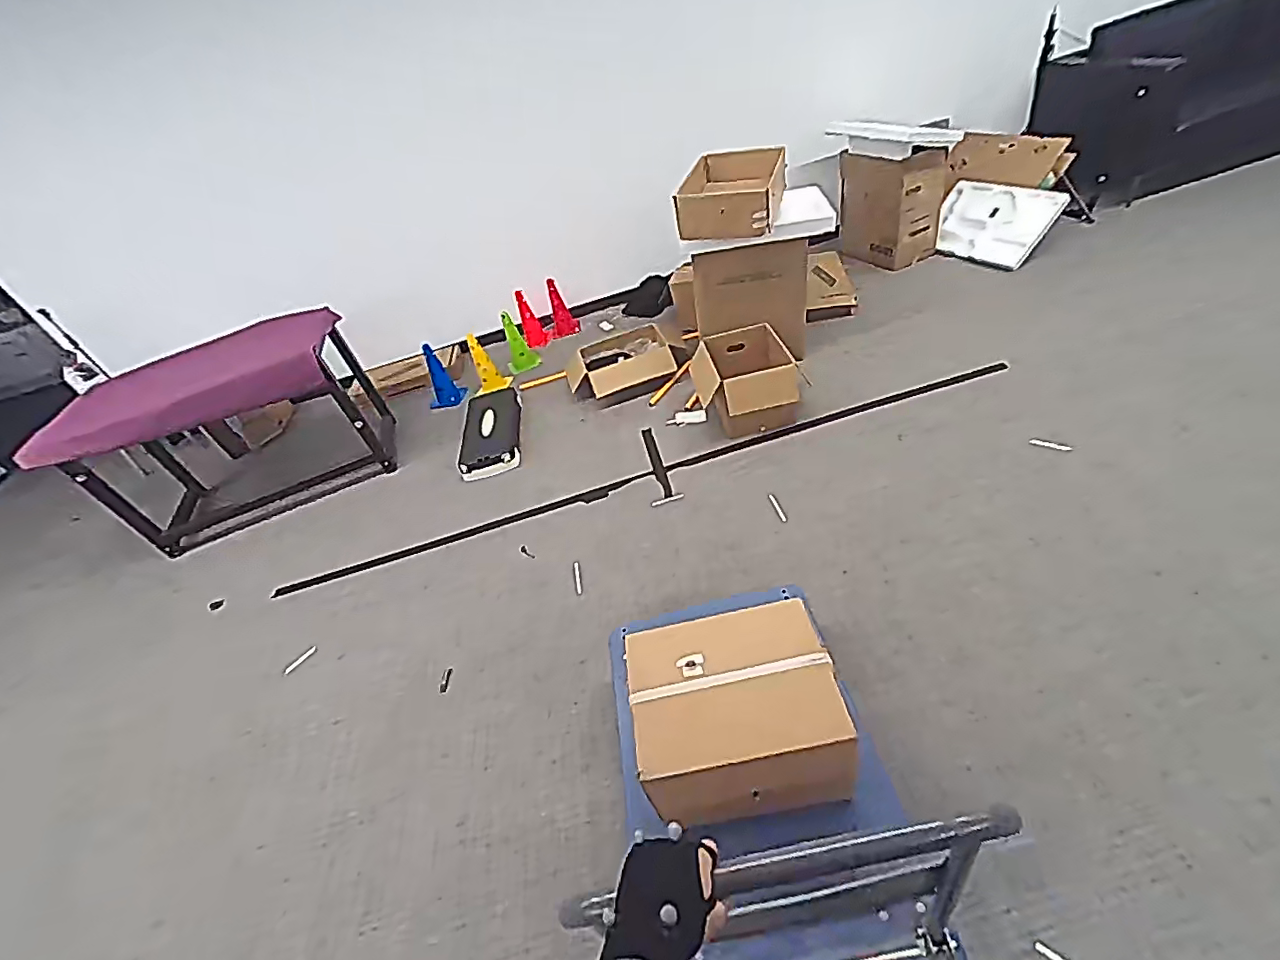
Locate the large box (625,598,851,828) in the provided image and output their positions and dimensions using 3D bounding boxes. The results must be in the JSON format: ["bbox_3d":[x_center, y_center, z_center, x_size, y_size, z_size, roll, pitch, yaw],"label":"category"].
[{"bbox_3d":[0.211,0.518,1.199,0.408,0.320,0.320,-15,39,4],"label":"large box"}]
